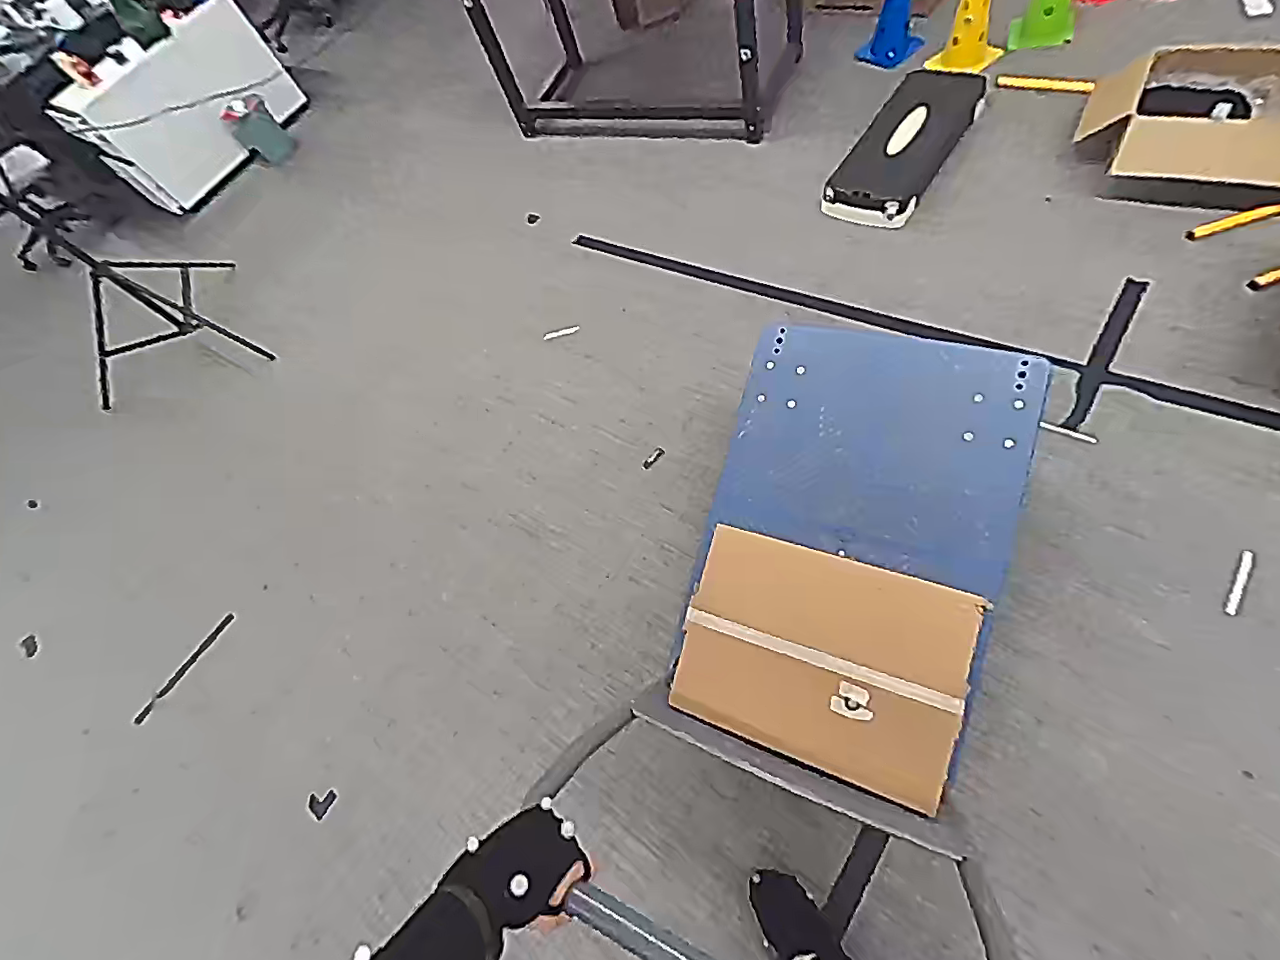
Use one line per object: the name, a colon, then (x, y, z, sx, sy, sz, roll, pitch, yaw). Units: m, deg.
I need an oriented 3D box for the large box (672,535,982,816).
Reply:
large box: (0.318, 0.306, 0.971, 0.408, 0.320, 0.320, 15, 86, 21)
